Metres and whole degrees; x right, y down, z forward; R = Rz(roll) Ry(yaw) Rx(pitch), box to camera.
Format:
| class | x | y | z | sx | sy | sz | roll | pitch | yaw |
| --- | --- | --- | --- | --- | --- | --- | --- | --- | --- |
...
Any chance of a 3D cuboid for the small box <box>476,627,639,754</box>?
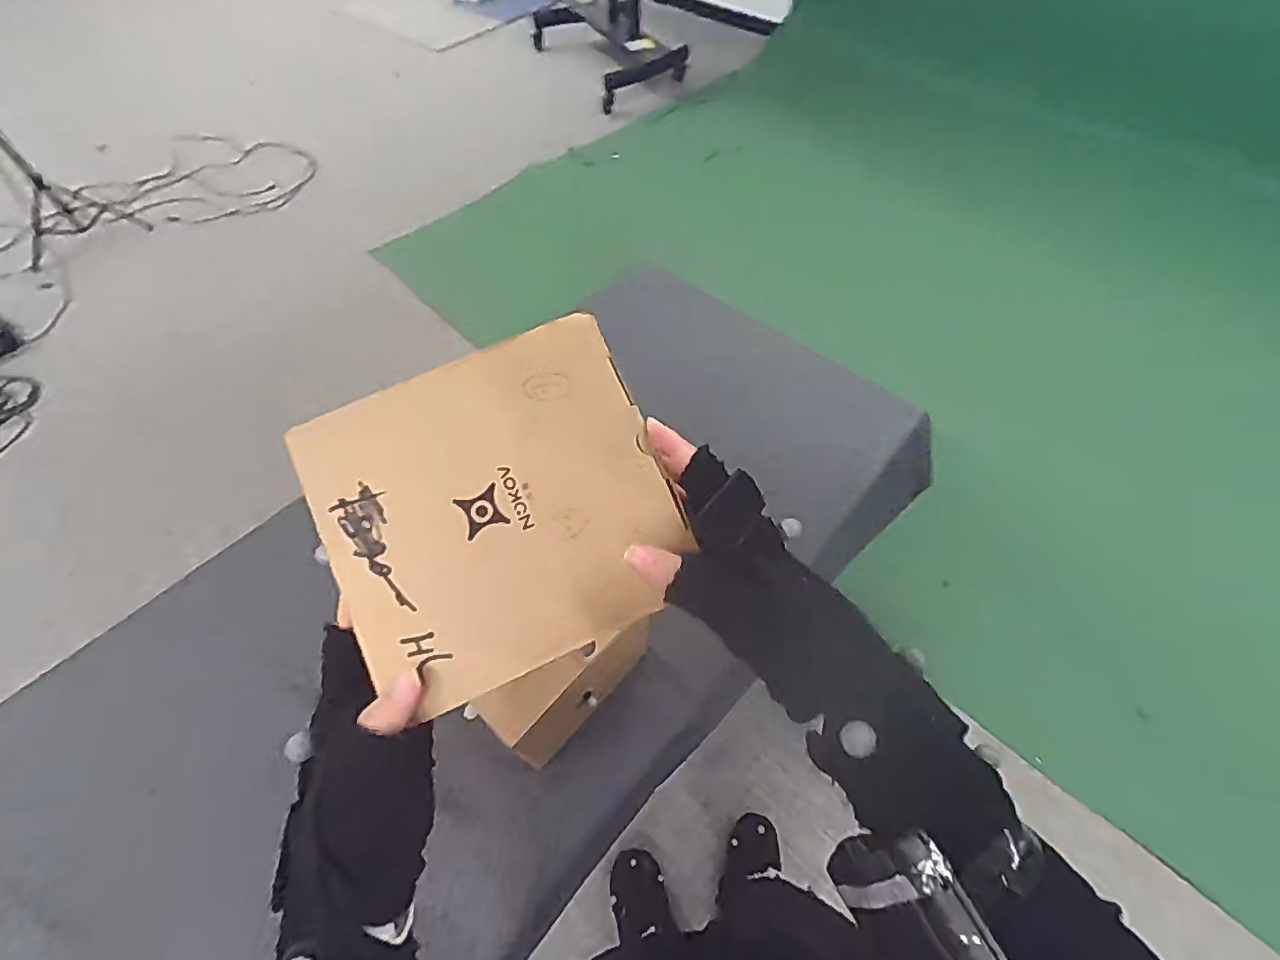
| class | x | y | z | sx | sy | sz | roll | pitch | yaw |
| --- | --- | --- | --- | --- | --- | --- | --- | --- | --- |
| small box | -0.113 | 0.170 | 0.599 | 0.168 | 0.176 | 0.179 | 35 | 63 | 19 |

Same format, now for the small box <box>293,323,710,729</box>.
| class | x | y | z | sx | sy | sz | roll | pitch | yaw |
| --- | --- | --- | --- | --- | --- | --- | --- | --- | --- |
| small box | -0.077 | 0.029 | 0.359 | 0.179 | 0.176 | 0.168 | -22 | 82 | -6 |
